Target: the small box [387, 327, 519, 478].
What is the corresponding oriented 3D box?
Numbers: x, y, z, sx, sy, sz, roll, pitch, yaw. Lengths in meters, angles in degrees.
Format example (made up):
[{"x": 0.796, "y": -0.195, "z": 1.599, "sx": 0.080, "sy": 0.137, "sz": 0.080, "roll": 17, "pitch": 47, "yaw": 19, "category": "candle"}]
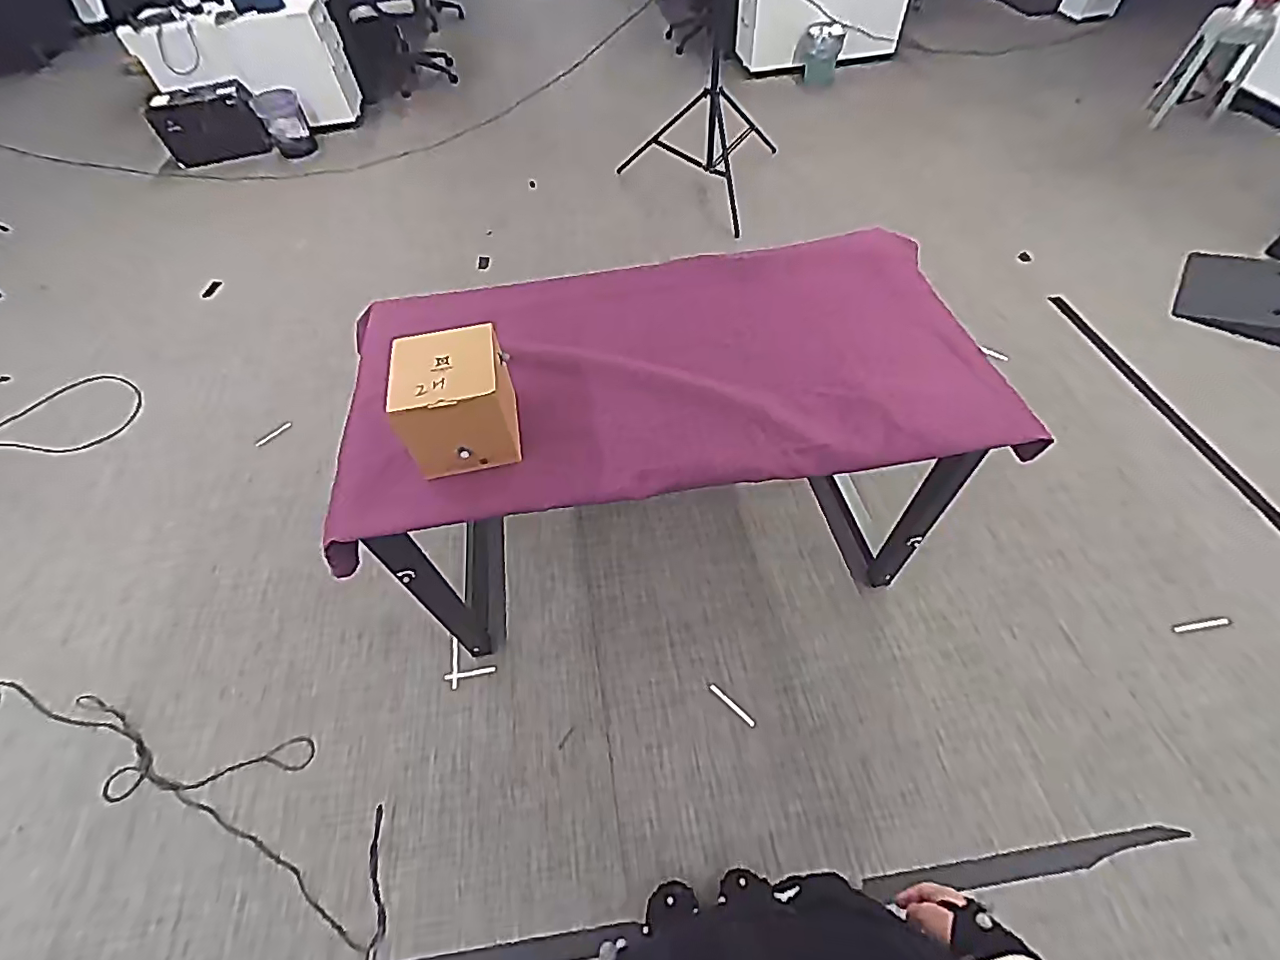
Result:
[{"x": -0.309, "y": -0.130, "z": 0.924, "sx": 0.168, "sy": 0.176, "sz": 0.179, "roll": -11, "pitch": 54, "yaw": -4, "category": "small box"}]
